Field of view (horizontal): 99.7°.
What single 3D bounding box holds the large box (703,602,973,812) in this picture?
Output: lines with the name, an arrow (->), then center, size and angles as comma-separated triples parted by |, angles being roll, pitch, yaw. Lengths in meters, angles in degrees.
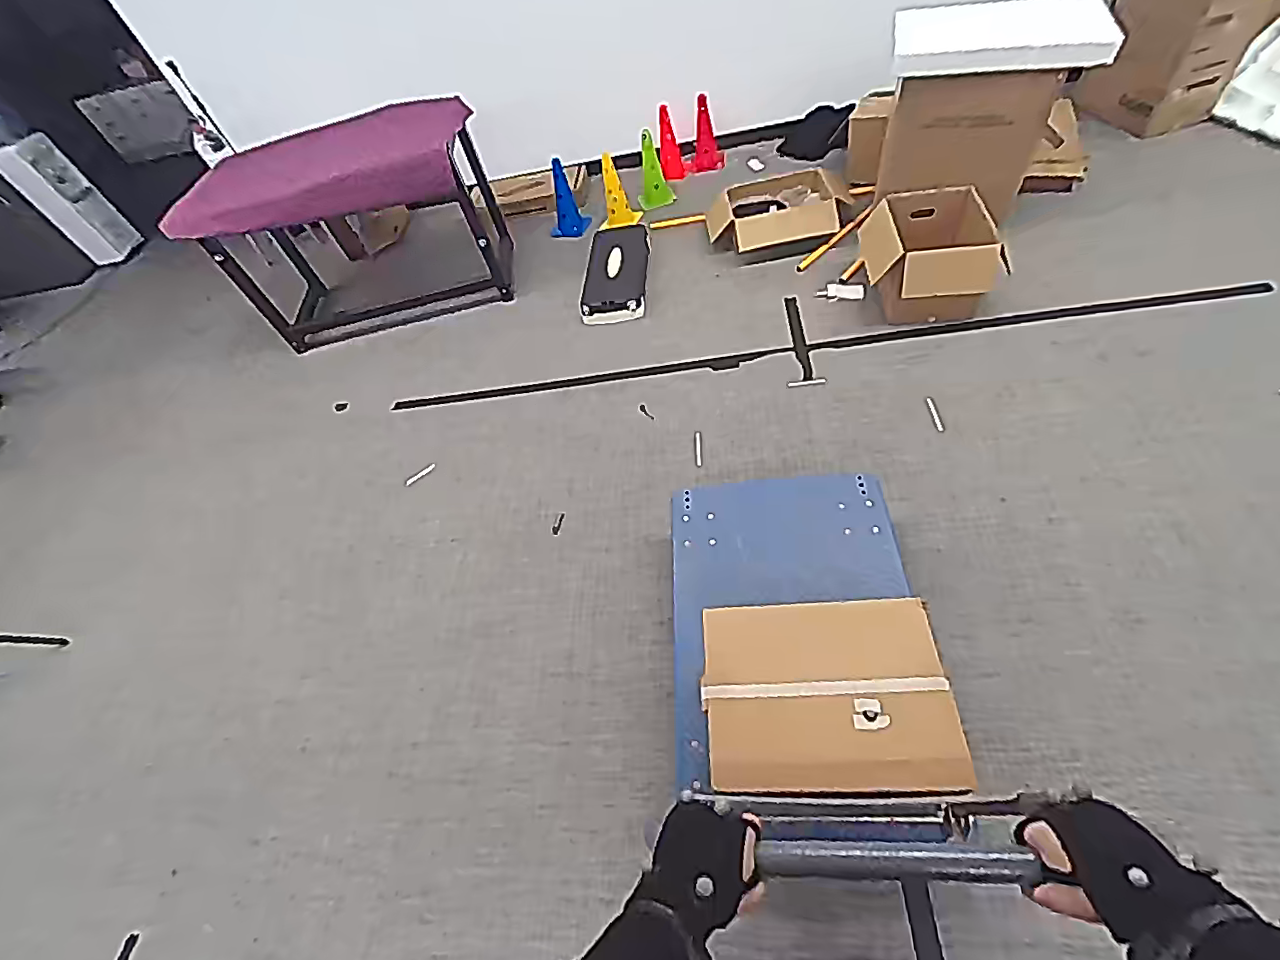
large box -> 0.344, 0.458, 1.065 | 0.408, 0.320, 0.320 | -5, 55, 8
